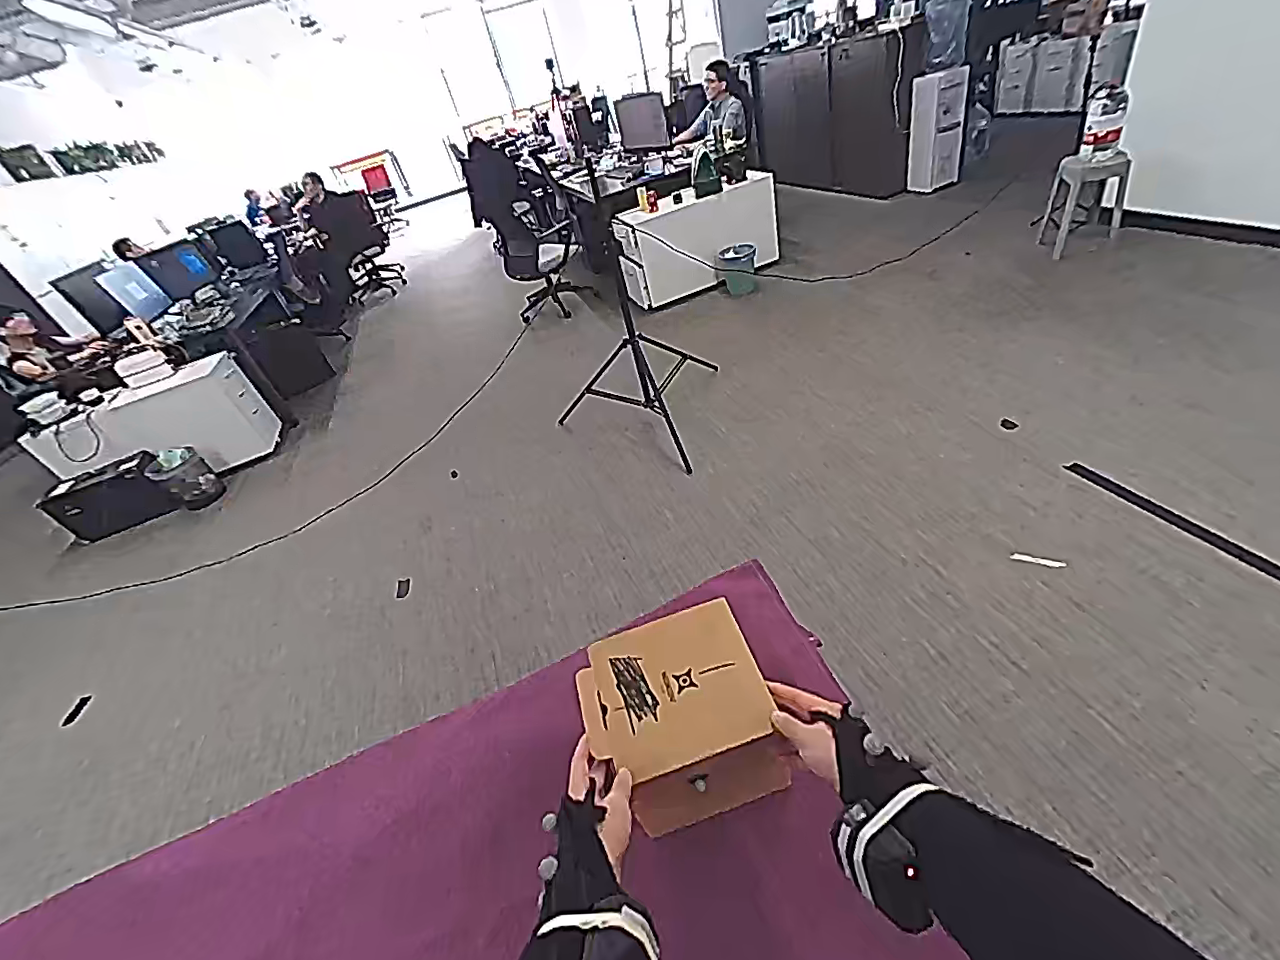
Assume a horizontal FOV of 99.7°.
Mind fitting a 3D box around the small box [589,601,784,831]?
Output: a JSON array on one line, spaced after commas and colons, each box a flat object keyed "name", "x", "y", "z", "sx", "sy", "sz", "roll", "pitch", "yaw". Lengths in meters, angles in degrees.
[{"name": "small box", "x": 0.057, "y": 0.279, "z": 0.636, "sx": 0.179, "sy": 0.176, "sz": 0.168, "roll": -19, "pitch": 42, "yaw": -4}]
